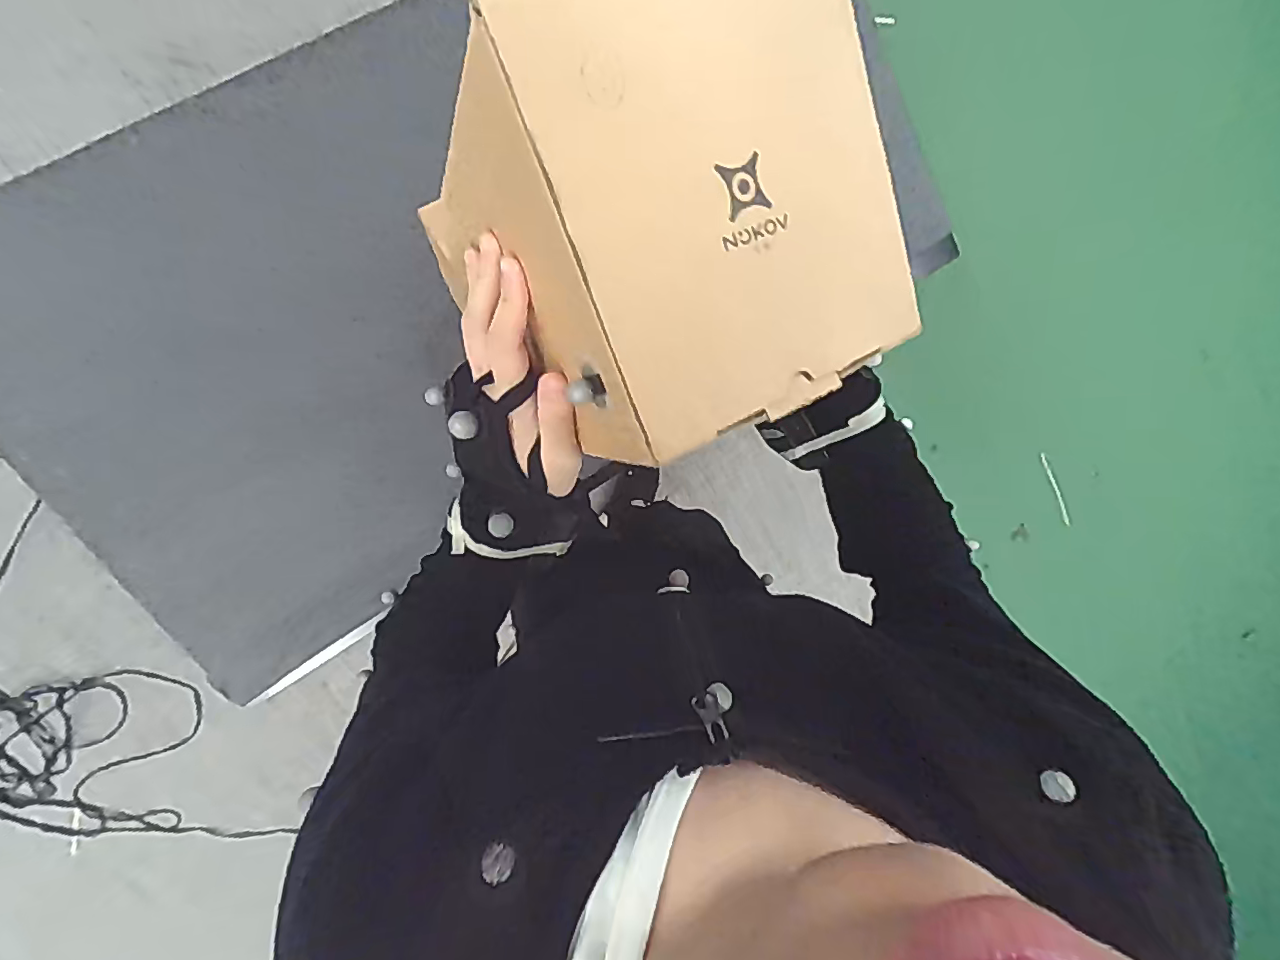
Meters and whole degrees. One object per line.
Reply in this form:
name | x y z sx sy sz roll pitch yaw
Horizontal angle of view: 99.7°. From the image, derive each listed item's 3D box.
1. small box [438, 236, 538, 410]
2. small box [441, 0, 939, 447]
small box | -0.104 -0.190 0.613 0.168 0.176 0.179 -31 104 -8
small box | 0.012 -0.129 0.282 0.168 0.176 0.179 -27 107 -19
